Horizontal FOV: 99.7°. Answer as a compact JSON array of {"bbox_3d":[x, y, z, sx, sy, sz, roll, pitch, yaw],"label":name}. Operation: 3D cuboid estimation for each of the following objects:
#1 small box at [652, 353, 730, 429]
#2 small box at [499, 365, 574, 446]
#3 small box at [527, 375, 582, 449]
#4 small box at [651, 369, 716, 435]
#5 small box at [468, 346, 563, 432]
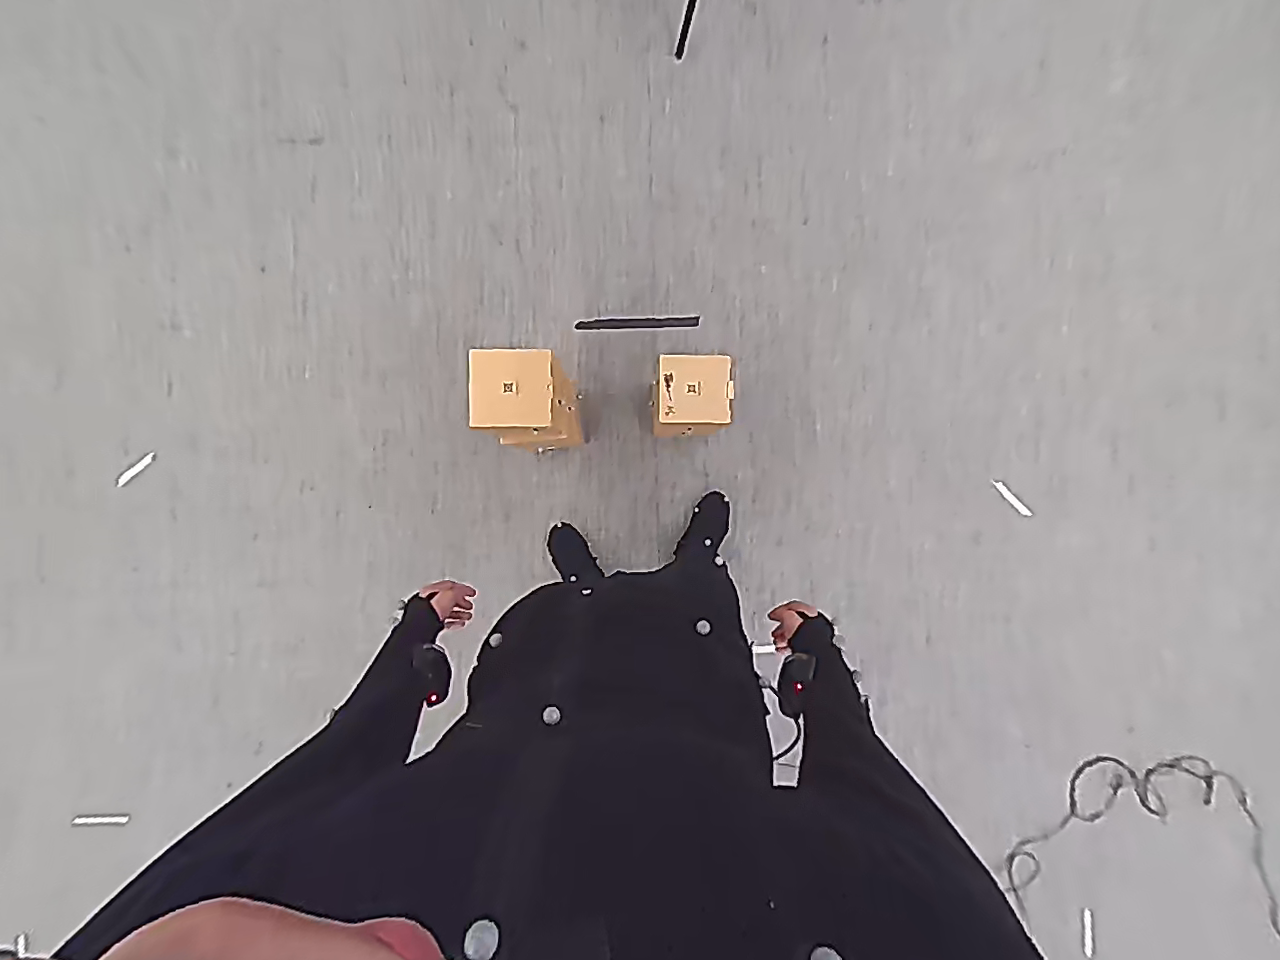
[{"bbox_3d":[0.125,-0.221,1.379,0.179,0.176,0.168,1,89,-3],"label":"small box"},{"bbox_3d":[-0.263,-0.184,1.370,0.168,0.176,0.179,-5,90,0],"label":"small box"},{"bbox_3d":[-0.259,-0.188,1.534,0.168,0.176,0.179,-7,90,-1],"label":"small box"},{"bbox_3d":[0.121,-0.218,1.543,0.179,0.176,0.168,0,90,-2],"label":"small box"},{"bbox_3d":[-0.272,-0.197,1.208,0.179,0.176,0.168,0,89,-1],"label":"small box"}]
